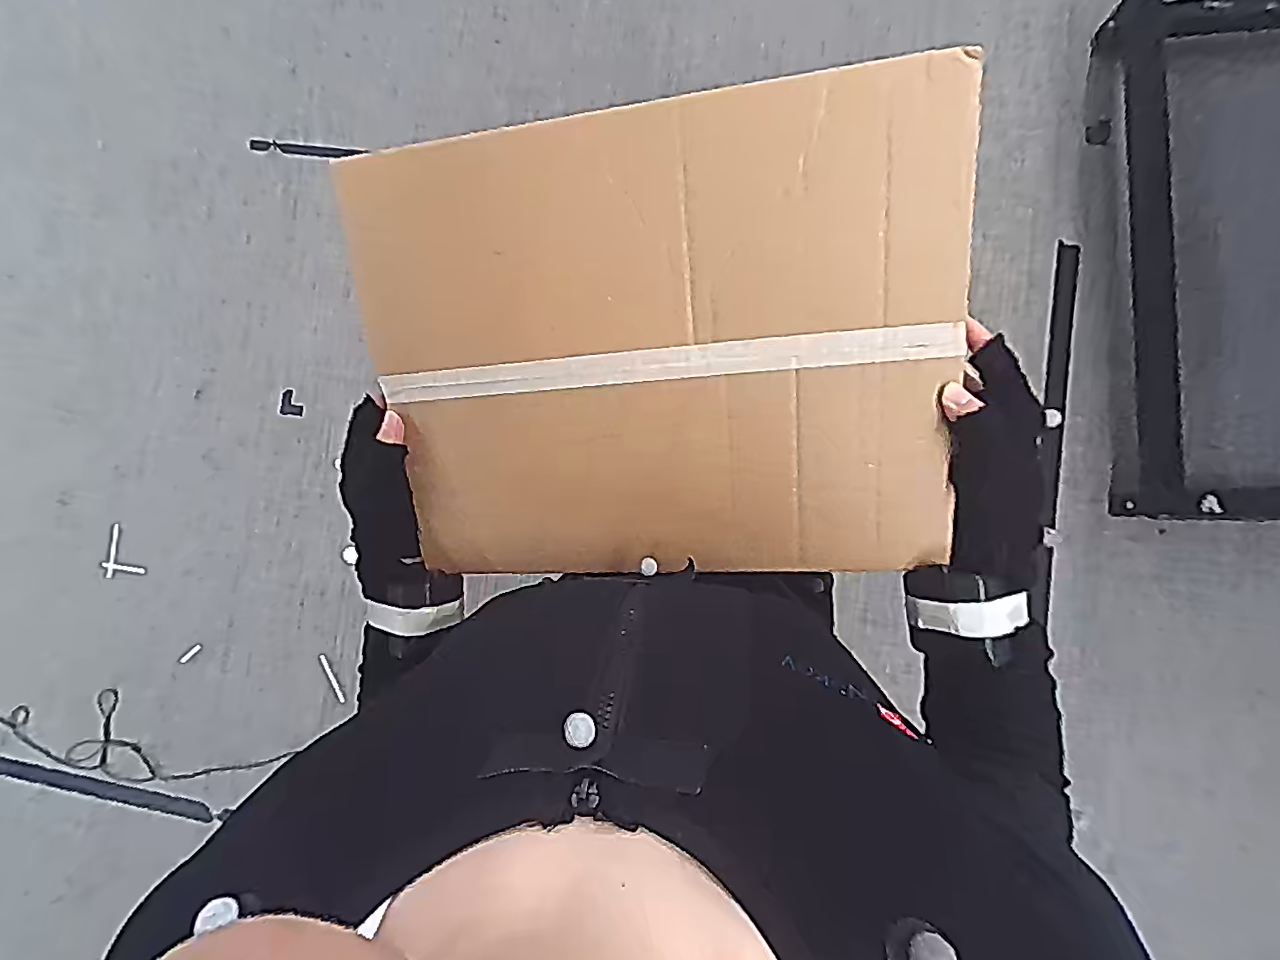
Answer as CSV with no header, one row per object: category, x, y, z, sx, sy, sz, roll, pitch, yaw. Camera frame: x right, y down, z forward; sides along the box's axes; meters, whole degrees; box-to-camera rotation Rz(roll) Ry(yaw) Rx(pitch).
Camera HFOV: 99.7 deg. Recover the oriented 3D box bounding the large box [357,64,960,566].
large box,0.029,-0.126,0.529,0.408,0.320,0.320,-3,108,11
